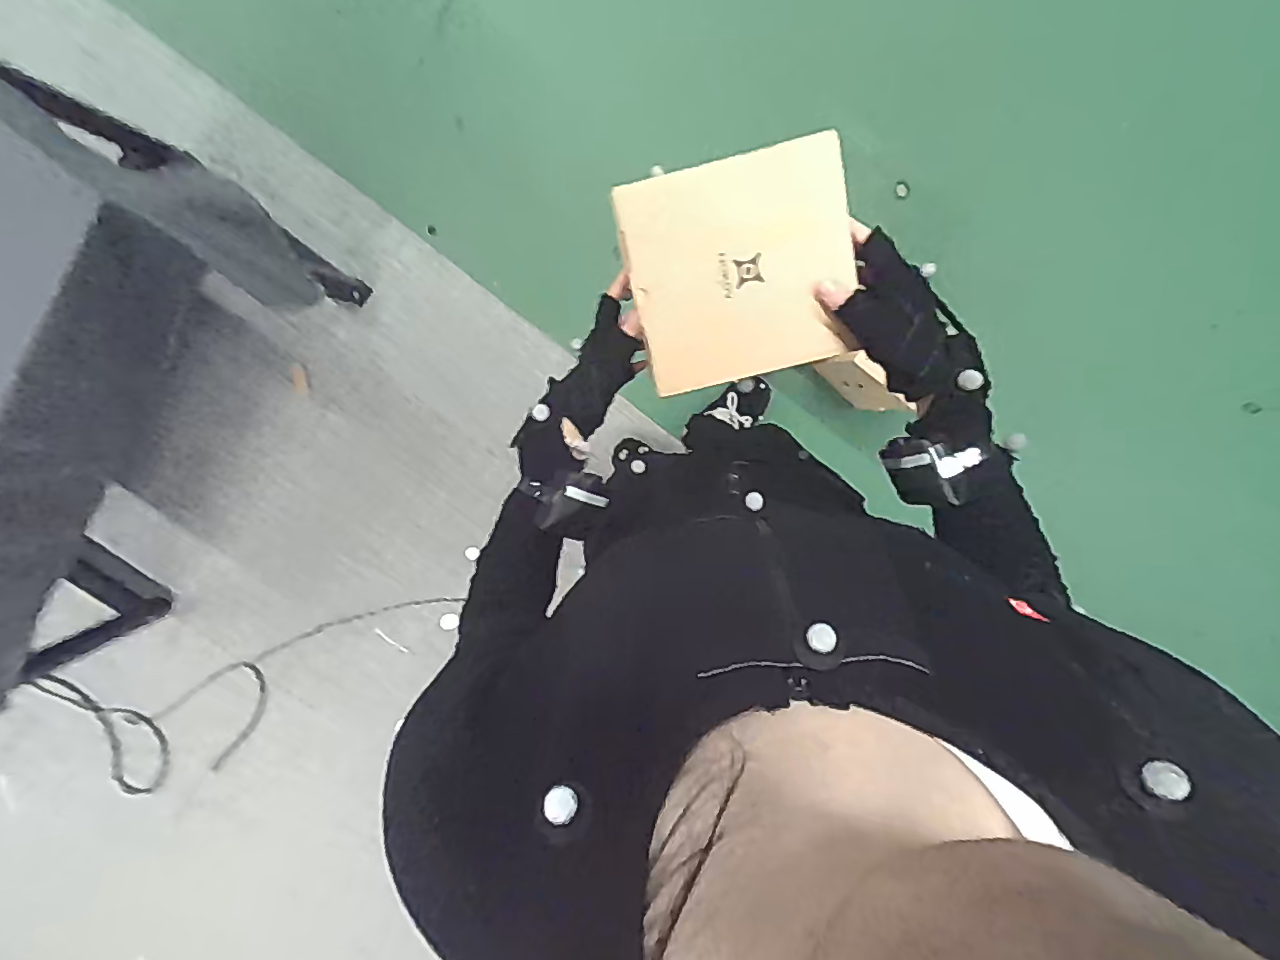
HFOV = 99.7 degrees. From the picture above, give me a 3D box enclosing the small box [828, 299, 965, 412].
[{"bbox_3d":[0.552,-0.271,1.189,0.179,0.176,0.168,38,98,-6],"label":"small box"}]
